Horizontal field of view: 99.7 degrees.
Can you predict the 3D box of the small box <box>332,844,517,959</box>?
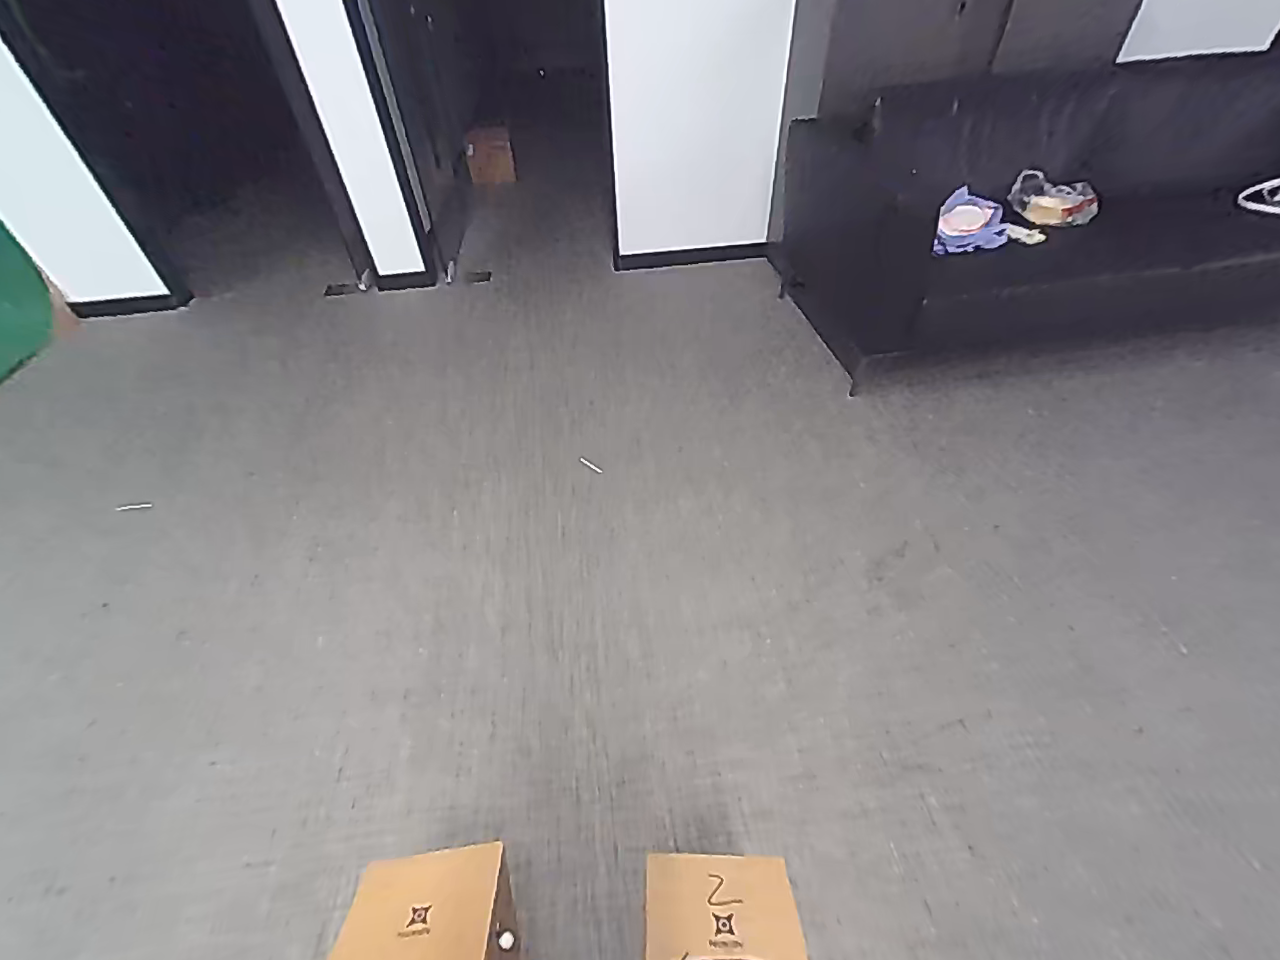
[{"bbox_3d":[-0.239,0.570,0.620,0.168,0.176,0.179,-6,13,-5],"label":"small box"}]
